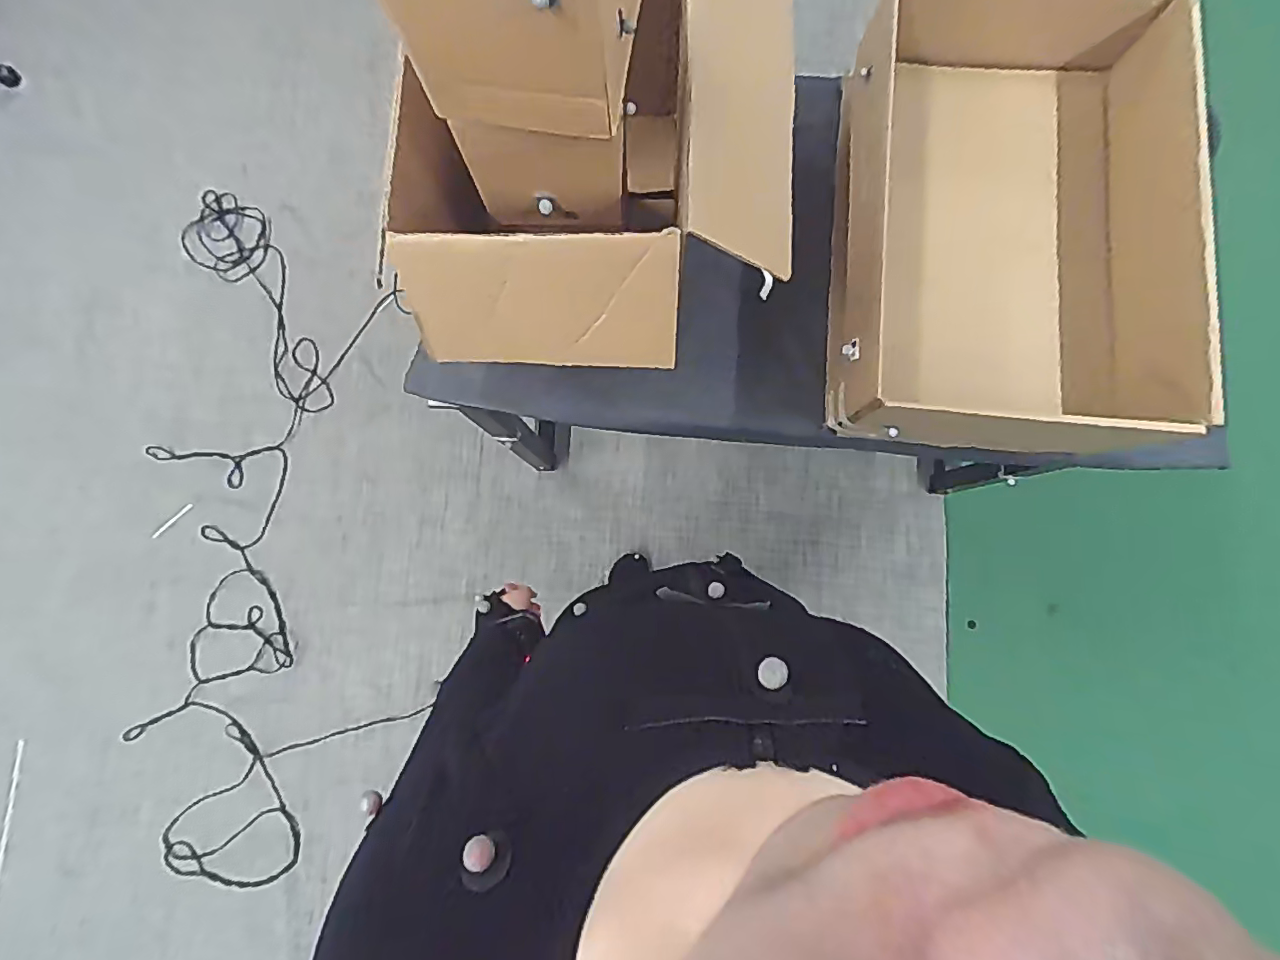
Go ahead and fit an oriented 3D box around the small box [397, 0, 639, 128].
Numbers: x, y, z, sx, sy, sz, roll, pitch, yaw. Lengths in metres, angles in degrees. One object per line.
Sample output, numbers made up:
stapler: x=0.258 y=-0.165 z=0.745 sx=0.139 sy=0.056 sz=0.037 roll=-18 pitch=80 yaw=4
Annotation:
small box: x=-0.099 y=-0.429 z=0.444 sx=0.179 sy=0.176 sz=0.168 roll=9 pitch=83 yaw=1
